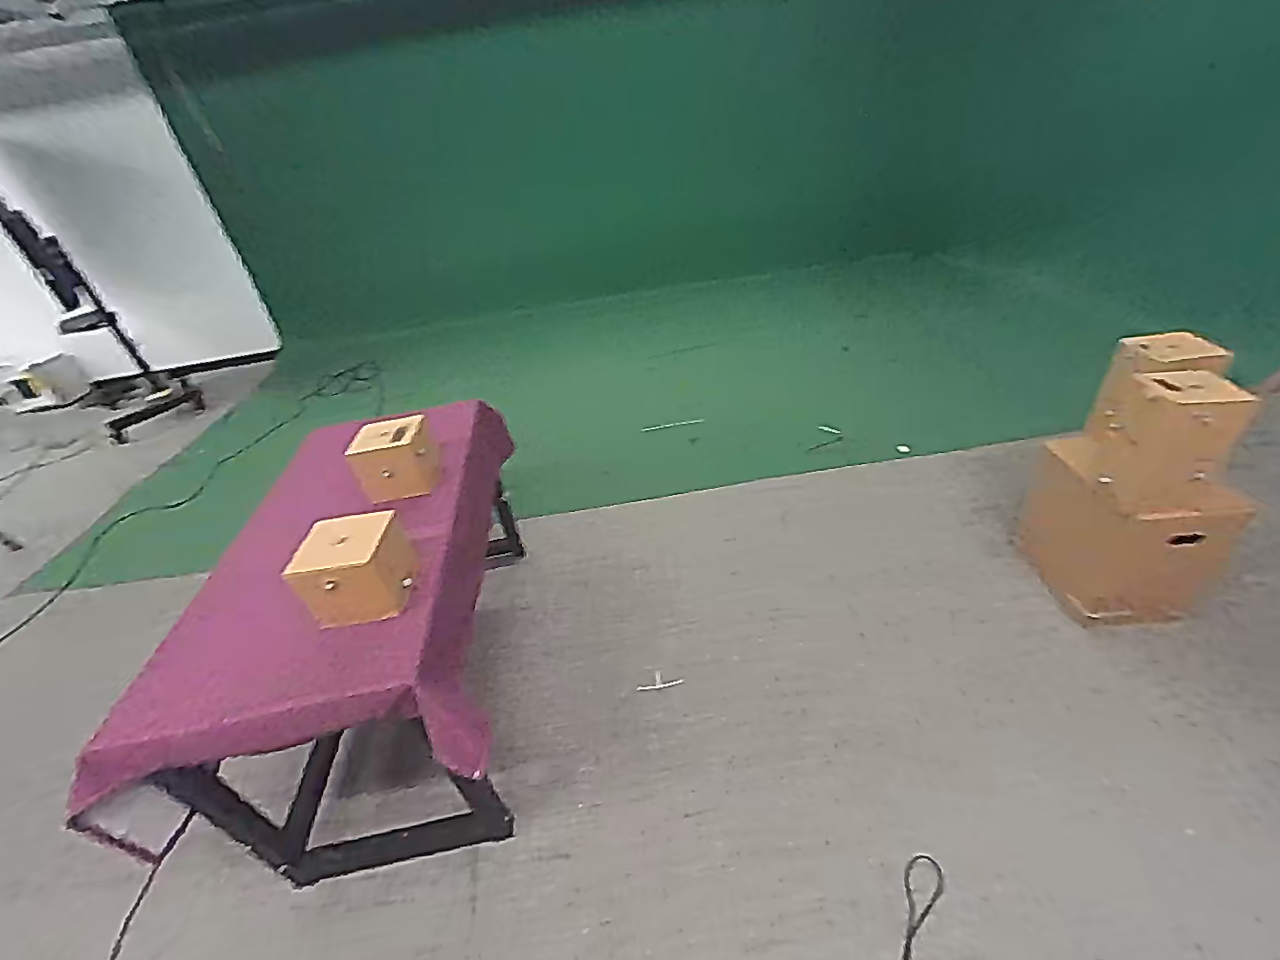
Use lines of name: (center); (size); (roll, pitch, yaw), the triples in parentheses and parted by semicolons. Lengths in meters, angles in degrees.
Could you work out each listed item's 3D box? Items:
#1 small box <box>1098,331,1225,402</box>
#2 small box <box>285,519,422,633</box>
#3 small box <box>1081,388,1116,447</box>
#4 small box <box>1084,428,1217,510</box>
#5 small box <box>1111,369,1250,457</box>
small box: (1.477, -0.309, 1.546); (0.179, 0.176, 0.168); (-5, 35, 7)
small box: (-0.604, 0.210, 1.165); (0.179, 0.176, 0.168); (-9, 35, 2)
small box: (1.503, -0.179, 1.644); (0.168, 0.176, 0.179); (-7, 35, 4)
small box: (1.374, -0.034, 1.471); (0.179, 0.176, 0.168); (-5, 35, 5)
small box: (1.355, -0.169, 1.378); (0.179, 0.176, 0.168); (-2, 36, 8)
